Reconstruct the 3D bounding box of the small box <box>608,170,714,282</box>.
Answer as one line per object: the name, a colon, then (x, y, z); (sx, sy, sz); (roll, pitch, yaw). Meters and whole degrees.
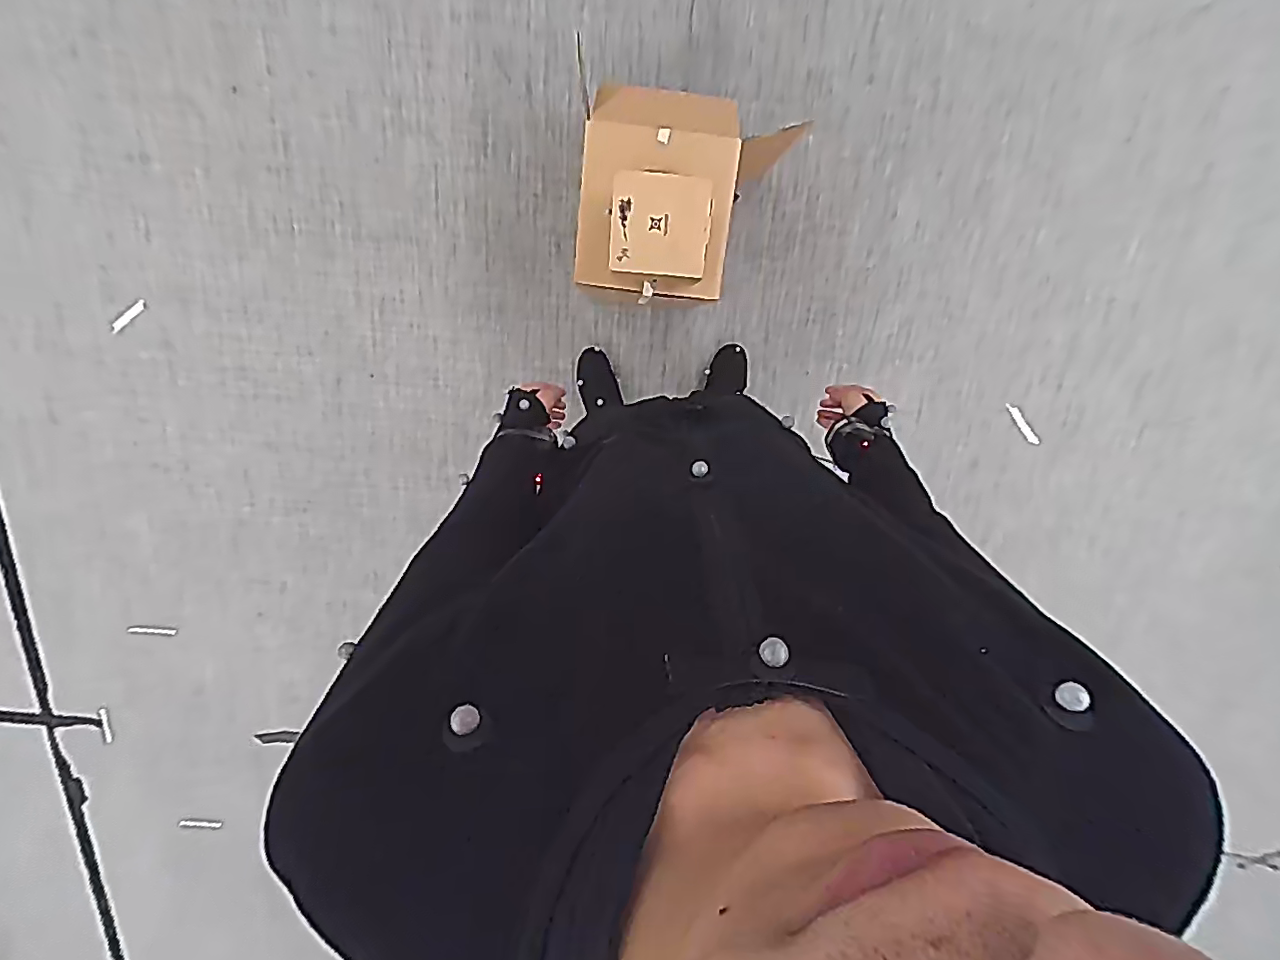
small box: (0.034, -0.477, 1.041); (0.179, 0.176, 0.168); (5, 107, -2)
